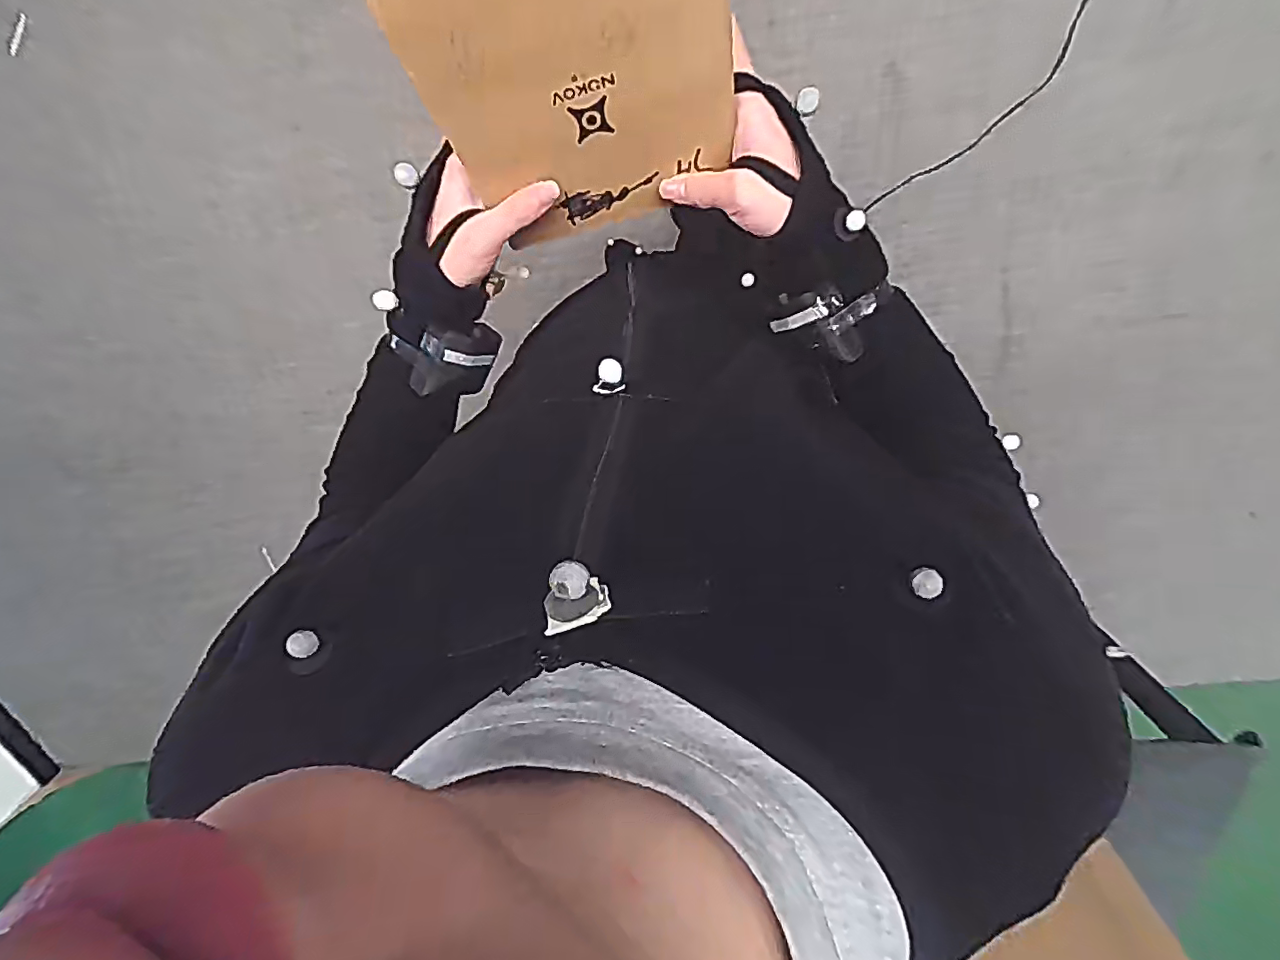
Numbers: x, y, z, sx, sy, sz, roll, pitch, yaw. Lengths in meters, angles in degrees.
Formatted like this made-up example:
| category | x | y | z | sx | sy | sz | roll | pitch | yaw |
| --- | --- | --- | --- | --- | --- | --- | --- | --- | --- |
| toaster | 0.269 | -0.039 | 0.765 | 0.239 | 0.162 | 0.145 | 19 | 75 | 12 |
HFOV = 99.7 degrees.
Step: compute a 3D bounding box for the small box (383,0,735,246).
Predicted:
| category | x | y | z | sx | sy | sz | roll | pitch | yaw |
| --- | --- | --- | --- | --- | --- | --- | --- | --- | --- |
| small box | -0.041 | -0.289 | 0.334 | 0.168 | 0.179 | 0.176 | -12 | 70 | 7 |
